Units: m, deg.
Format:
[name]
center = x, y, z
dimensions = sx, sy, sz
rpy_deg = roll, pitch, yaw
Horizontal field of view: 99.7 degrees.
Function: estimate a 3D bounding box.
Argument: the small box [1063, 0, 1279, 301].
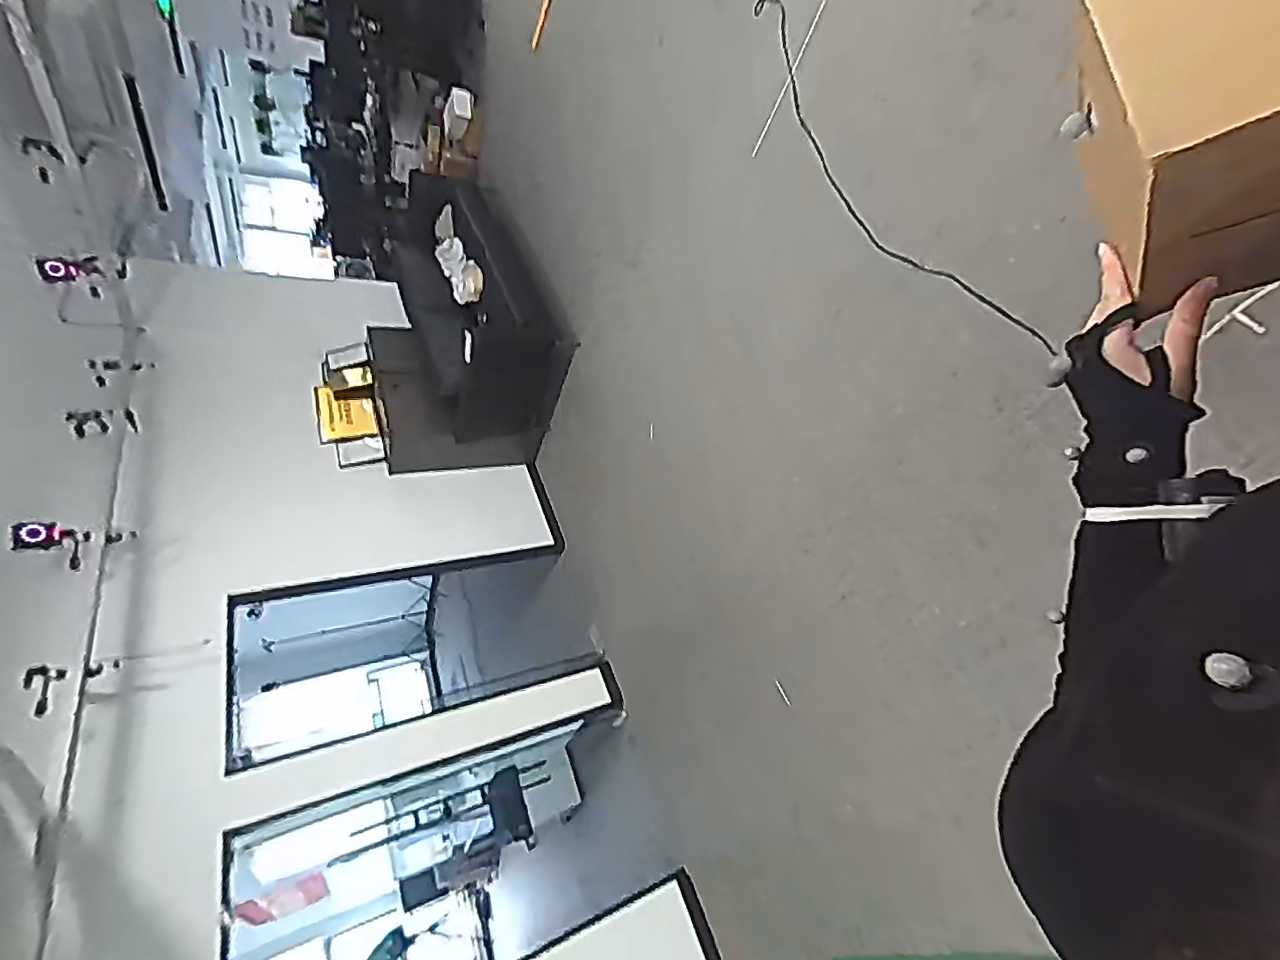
[small box]
center = 0.381, -0.247, 0.324
dimensions = 0.179, 0.168, 0.176
rpy_deg = -12, 66, 36
